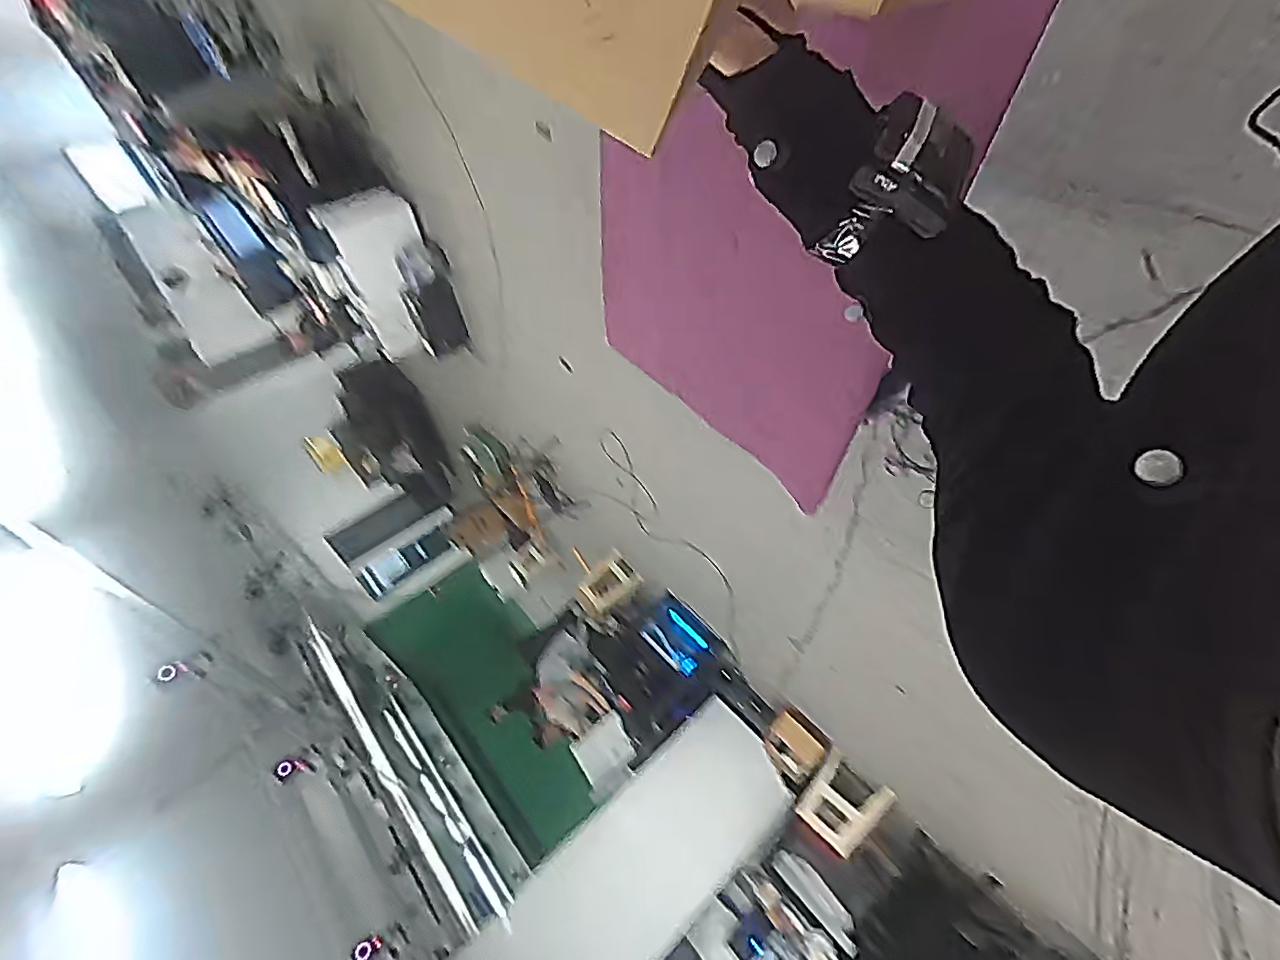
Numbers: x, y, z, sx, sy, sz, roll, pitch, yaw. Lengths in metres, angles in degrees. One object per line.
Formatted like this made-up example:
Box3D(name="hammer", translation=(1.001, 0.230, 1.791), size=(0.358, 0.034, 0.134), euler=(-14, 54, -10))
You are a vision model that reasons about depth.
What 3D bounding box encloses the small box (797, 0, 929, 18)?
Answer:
Box3D(name="small box", translation=(0.199, -0.525, 0.451), size=(0.168, 0.176, 0.179), euler=(40, 151, 27))
